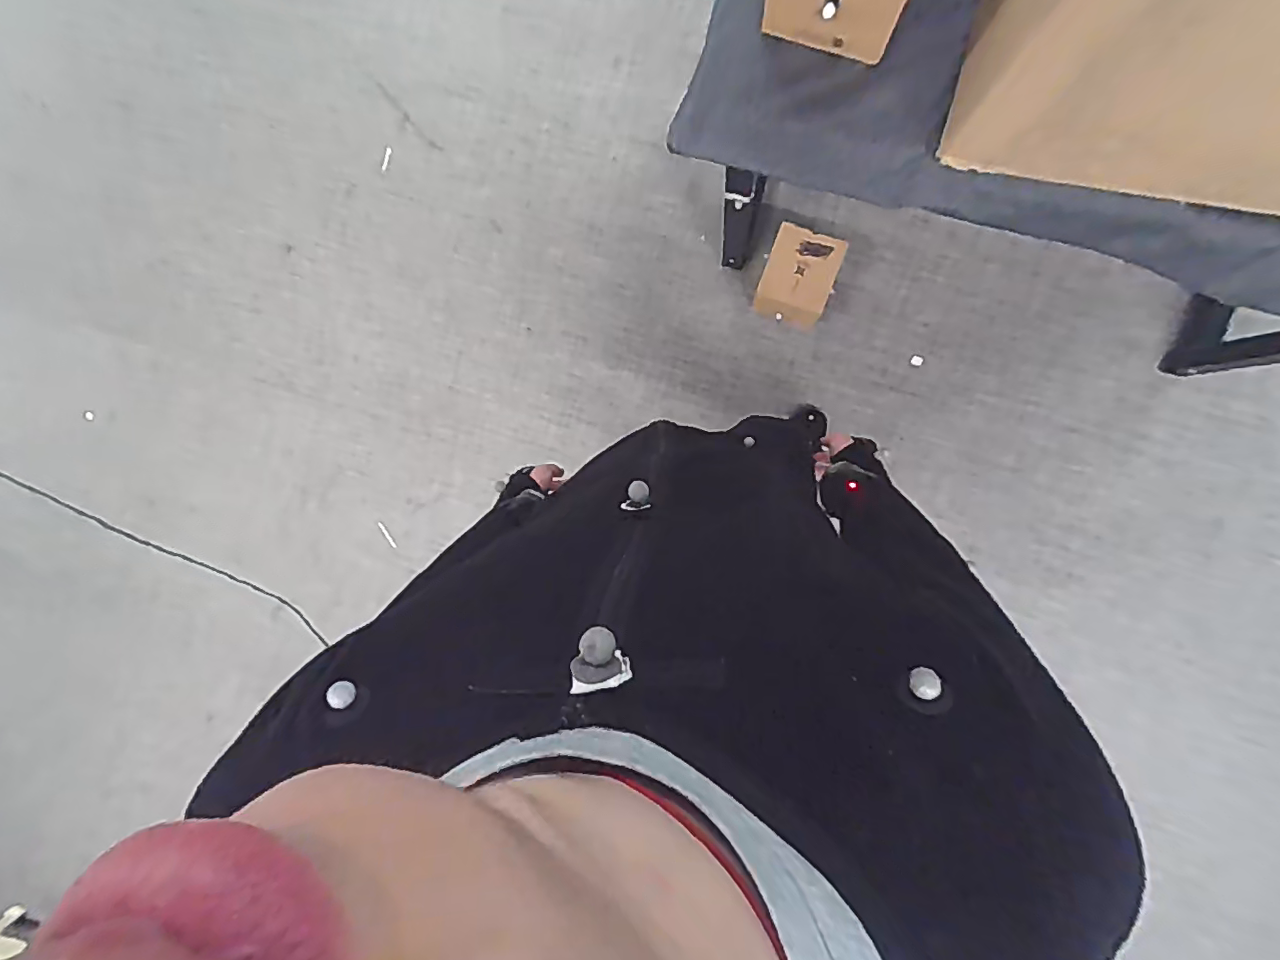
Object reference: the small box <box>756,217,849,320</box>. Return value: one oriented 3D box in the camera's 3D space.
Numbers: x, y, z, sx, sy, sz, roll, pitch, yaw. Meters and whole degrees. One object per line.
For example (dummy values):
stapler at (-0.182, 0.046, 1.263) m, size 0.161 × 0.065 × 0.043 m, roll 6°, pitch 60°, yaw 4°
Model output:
small box at (0.401, -0.528, 1.370) m, size 0.168 × 0.176 × 0.179 m, roll 21°, pitch 99°, yaw 6°
